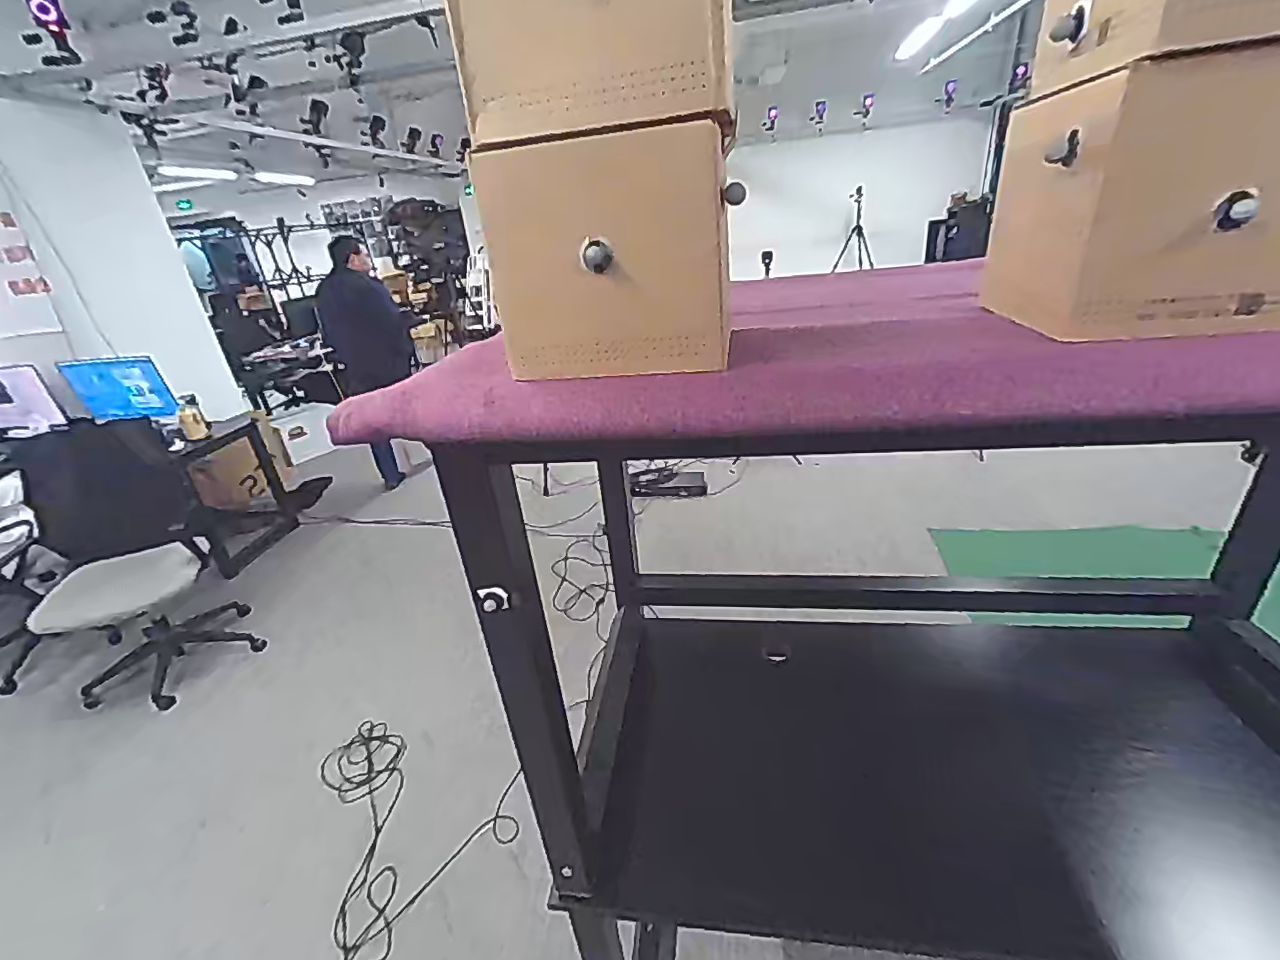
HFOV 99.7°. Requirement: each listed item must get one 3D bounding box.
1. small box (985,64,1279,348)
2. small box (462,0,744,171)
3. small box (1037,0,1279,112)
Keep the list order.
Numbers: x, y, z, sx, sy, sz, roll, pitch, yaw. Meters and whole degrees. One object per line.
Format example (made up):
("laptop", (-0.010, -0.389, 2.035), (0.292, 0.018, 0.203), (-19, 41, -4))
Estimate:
("small box", (0.394, -0.199, 0.412), (0.168, 0.176, 0.179), (1, 26, 12))
("small box", (-0.019, -0.328, 0.391), (0.179, 0.176, 0.168), (-1, 27, 12))
("small box", (0.387, -0.340, 0.330), (0.179, 0.176, 0.168), (-1, 25, 13))
